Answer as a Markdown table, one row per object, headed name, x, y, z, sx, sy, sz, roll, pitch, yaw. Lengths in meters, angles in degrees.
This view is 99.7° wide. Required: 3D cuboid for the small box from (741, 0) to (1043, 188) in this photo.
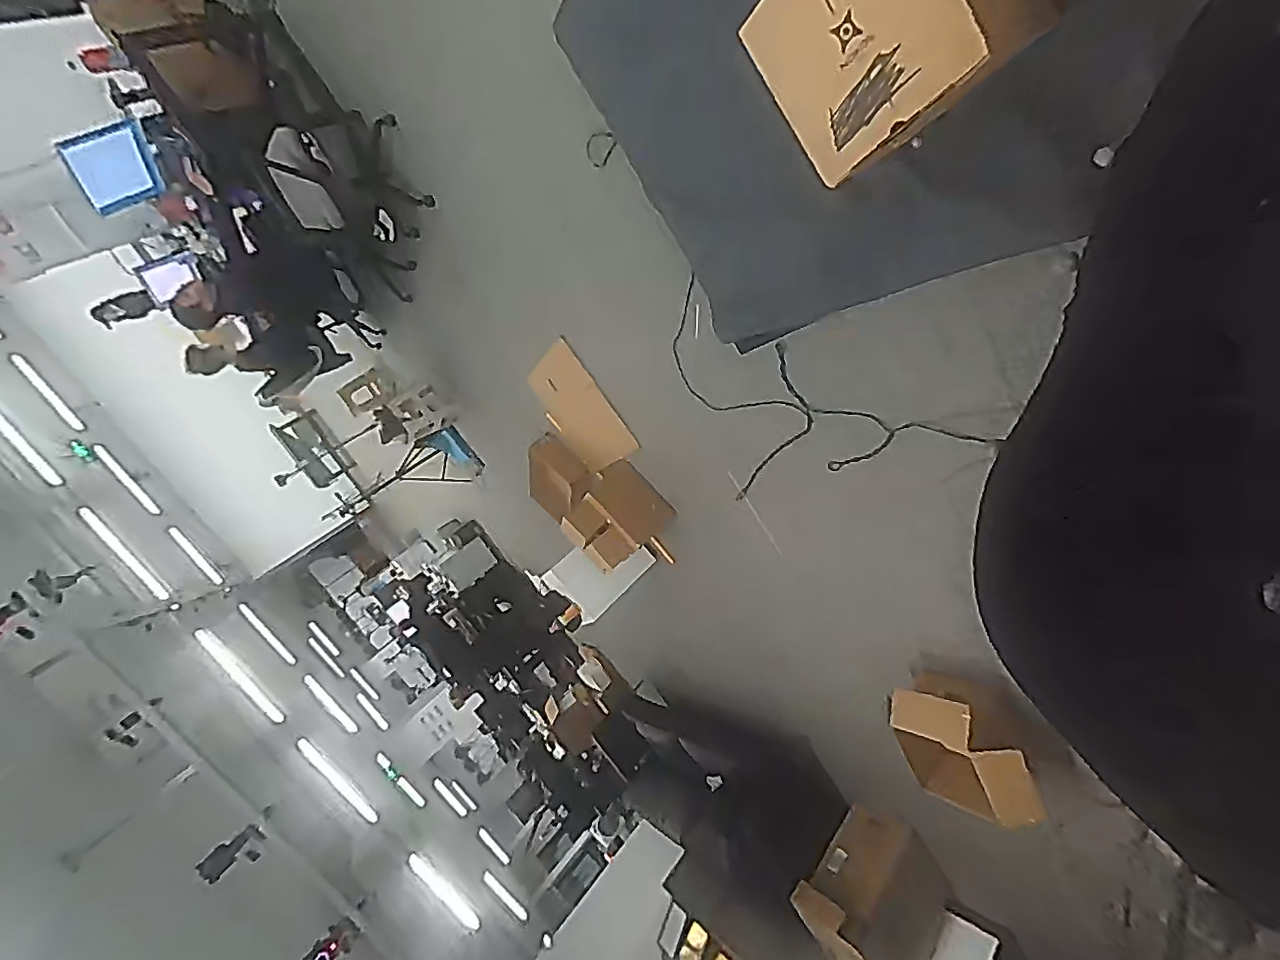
| name | x | y | z | sx | sy | sz | roll | pitch | yaw |
| --- | --- | --- | --- | --- | --- | --- | --- | --- | --- |
| small box | 0.239 | -0.428 | 0.515 | 0.179 | 0.176 | 0.168 | 55 | 151 | -8 |
